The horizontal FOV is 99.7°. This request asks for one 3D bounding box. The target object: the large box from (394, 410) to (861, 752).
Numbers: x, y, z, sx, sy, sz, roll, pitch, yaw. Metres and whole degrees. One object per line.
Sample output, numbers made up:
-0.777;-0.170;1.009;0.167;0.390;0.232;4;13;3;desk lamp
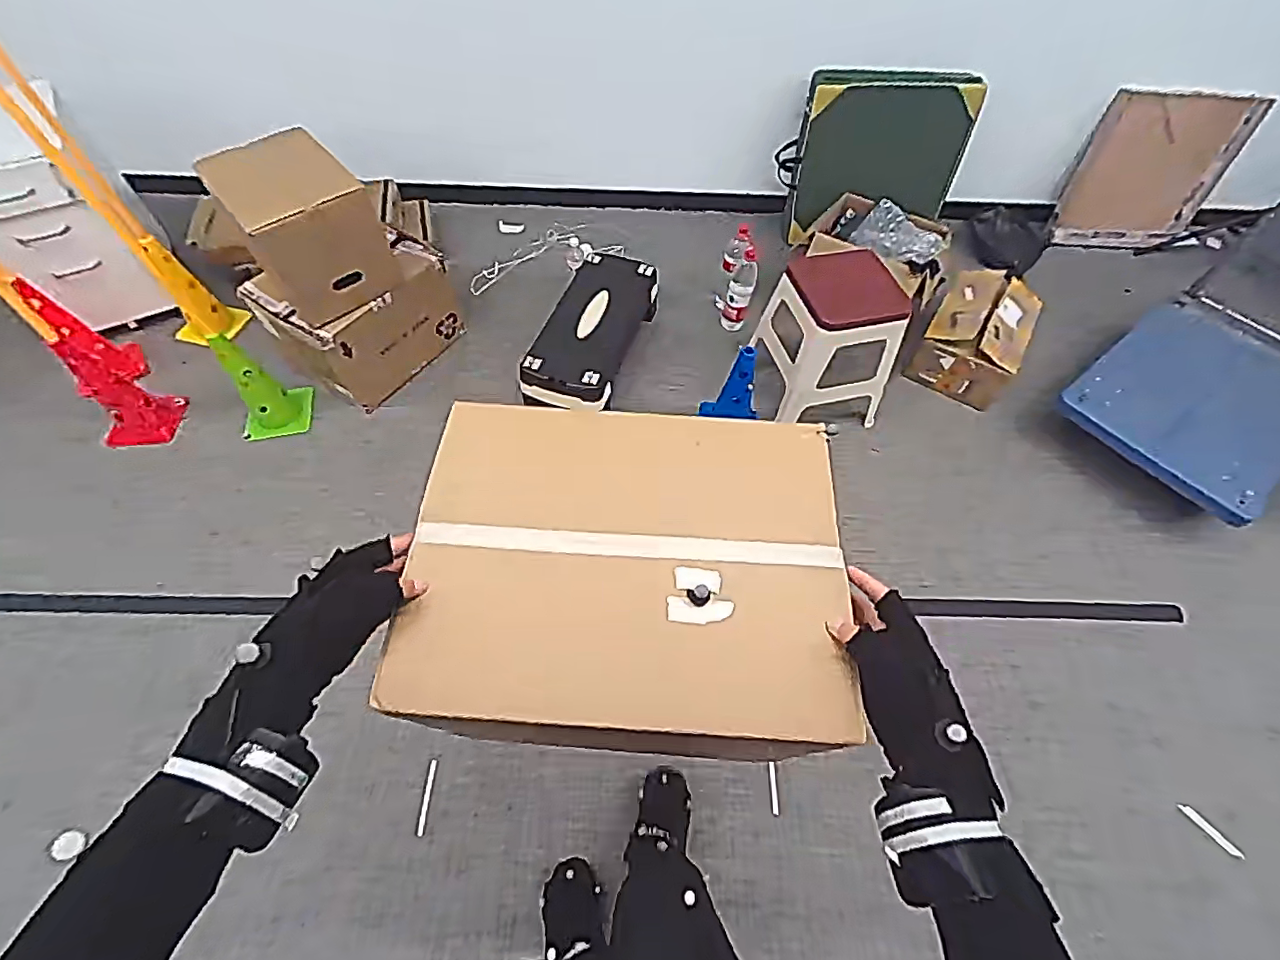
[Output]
-0.009;0.139;0.654;0.408;0.320;0.320;4;61;0;large box
